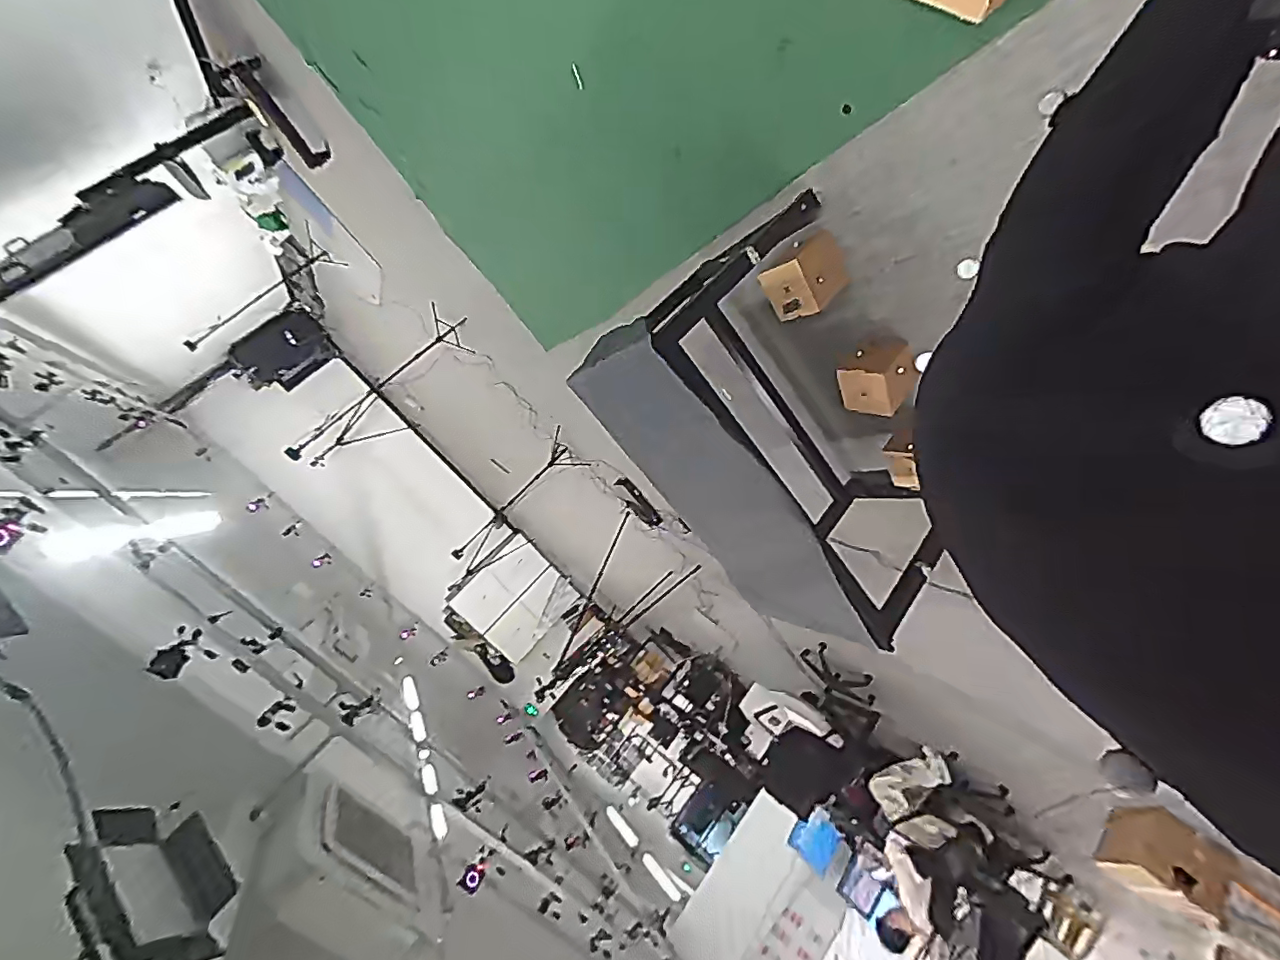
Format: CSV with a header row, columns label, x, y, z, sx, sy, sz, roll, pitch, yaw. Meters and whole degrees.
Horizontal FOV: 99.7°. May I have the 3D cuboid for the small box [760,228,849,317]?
label,x,y,z,sx,sy,sz,roll,pitch,yaw
small box,0.516,-0.641,1.679,0.179,0.176,0.168,52,158,-22

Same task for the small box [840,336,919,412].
label,x,y,z,sx,sy,sz,roll,pitch,yaw
small box,0.788,-0.352,1.769,0.168,0.176,0.179,20,152,47

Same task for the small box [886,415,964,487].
label,x,y,z,sx,sy,sz,roll,pitch,yaw
small box,0.999,-0.104,1.887,0.168,0.176,0.179,12,145,54

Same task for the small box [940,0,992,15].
label,x,y,z,sx,sy,sz,roll,pitch,yaw
small box,0.584,-0.950,0.921,0.179,0.176,0.168,36,159,15
